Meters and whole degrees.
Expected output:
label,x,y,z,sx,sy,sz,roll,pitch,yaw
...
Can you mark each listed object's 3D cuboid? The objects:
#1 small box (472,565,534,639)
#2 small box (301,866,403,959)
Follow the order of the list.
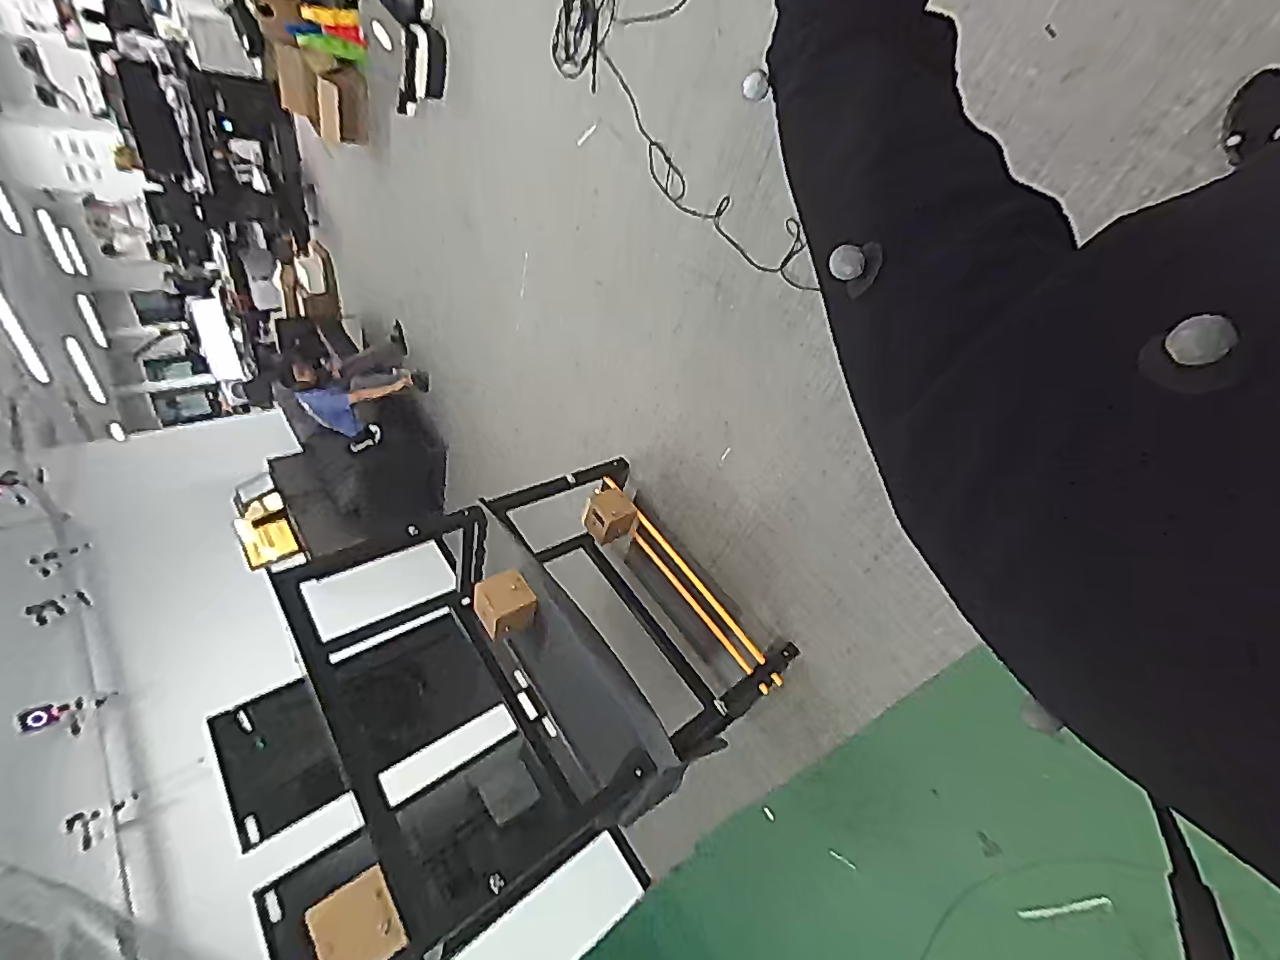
label,x,y,z,sx,sy,sz,roll,pitch,yaw
small box,-0.512,0.453,2.018,0.168,0.176,0.179,47,139,27
small box,-0.685,1.075,1.300,0.168,0.176,0.179,47,139,28
